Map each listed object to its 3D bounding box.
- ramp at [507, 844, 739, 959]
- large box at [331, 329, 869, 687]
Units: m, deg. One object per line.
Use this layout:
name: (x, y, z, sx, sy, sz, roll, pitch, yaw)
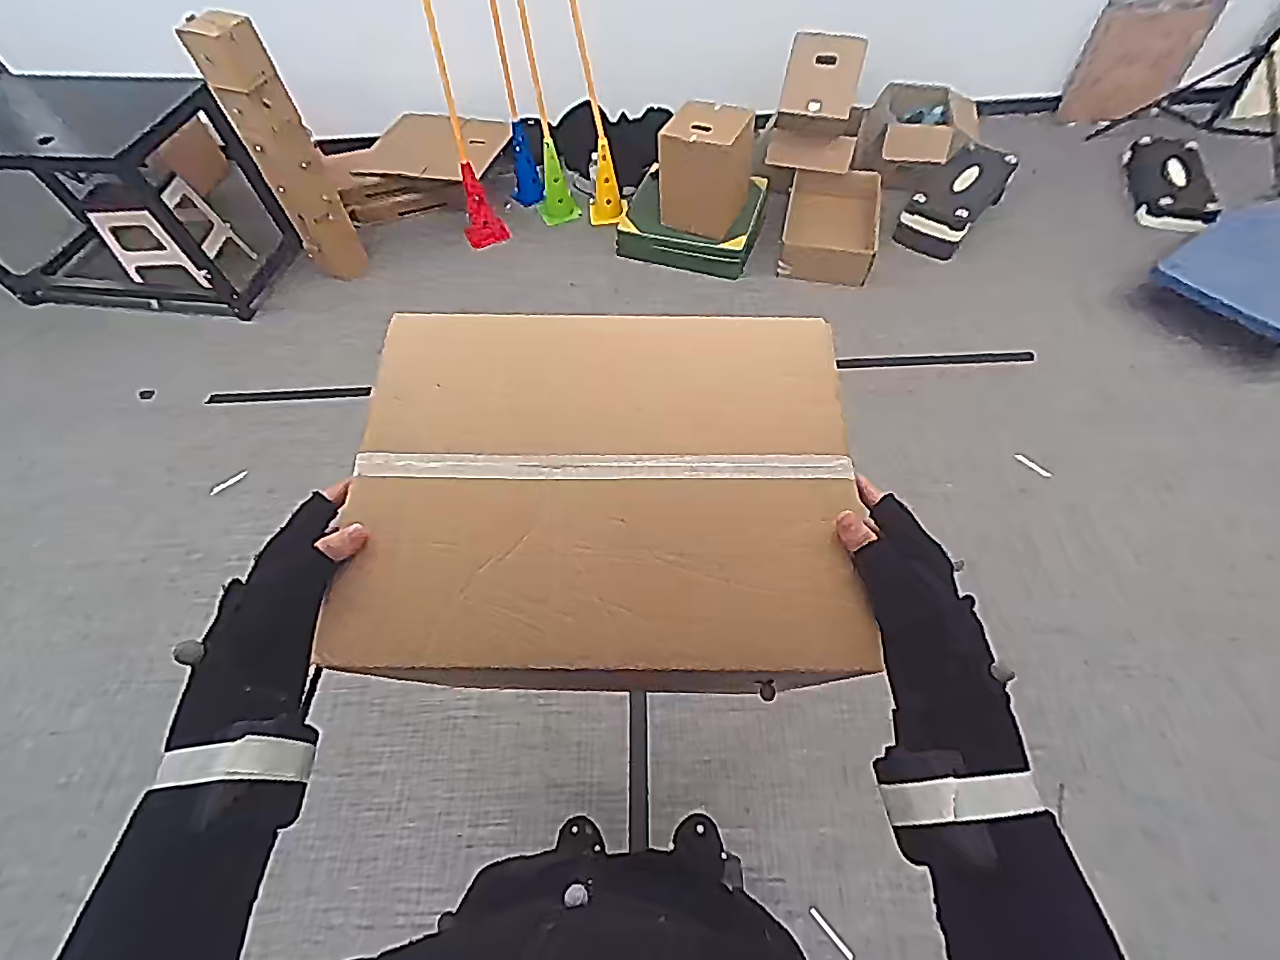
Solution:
ramp: (-0.028, 1.284, 1.024, 0.509, 0.206, 0.991, -2, 58, -1)
large box: (-0.028, 0.057, 0.589, 0.408, 0.320, 0.320, 1, 66, 0)
